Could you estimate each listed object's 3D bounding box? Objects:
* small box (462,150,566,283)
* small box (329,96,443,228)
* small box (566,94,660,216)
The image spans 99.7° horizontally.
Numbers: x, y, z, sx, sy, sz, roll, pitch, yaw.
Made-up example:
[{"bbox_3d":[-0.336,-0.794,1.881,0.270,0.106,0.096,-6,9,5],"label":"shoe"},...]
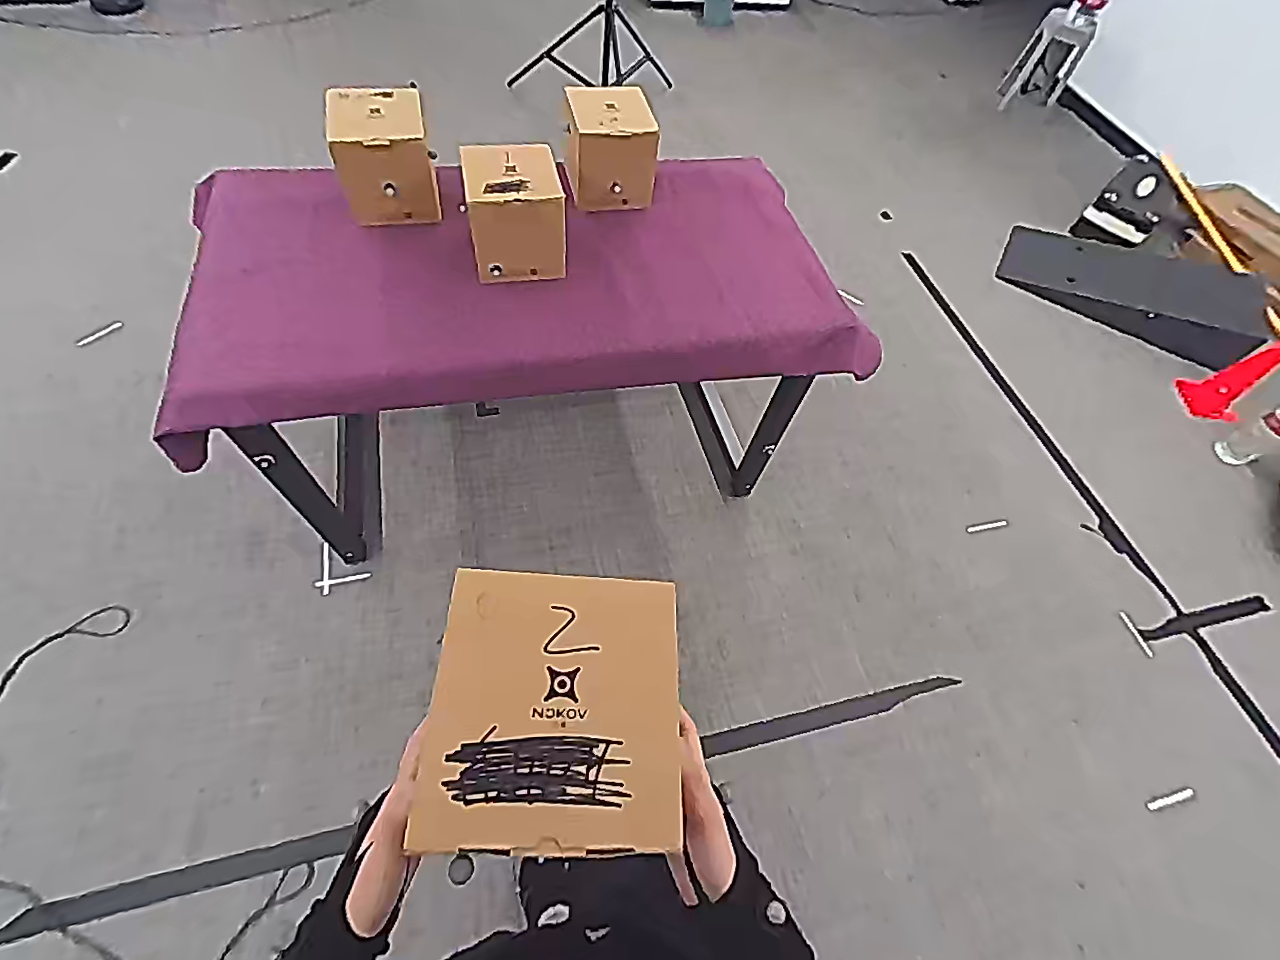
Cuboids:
[{"bbox_3d":[-0.235,-0.493,1.028,0.168,0.176,0.179,-9,60,-12],"label":"small box"},{"bbox_3d":[-0.495,-0.622,1.071,0.168,0.176,0.179,-9,63,-13],"label":"small box"},{"bbox_3d":[-0.067,-0.704,1.174,0.168,0.176,0.179,-10,62,-12],"label":"small box"}]
